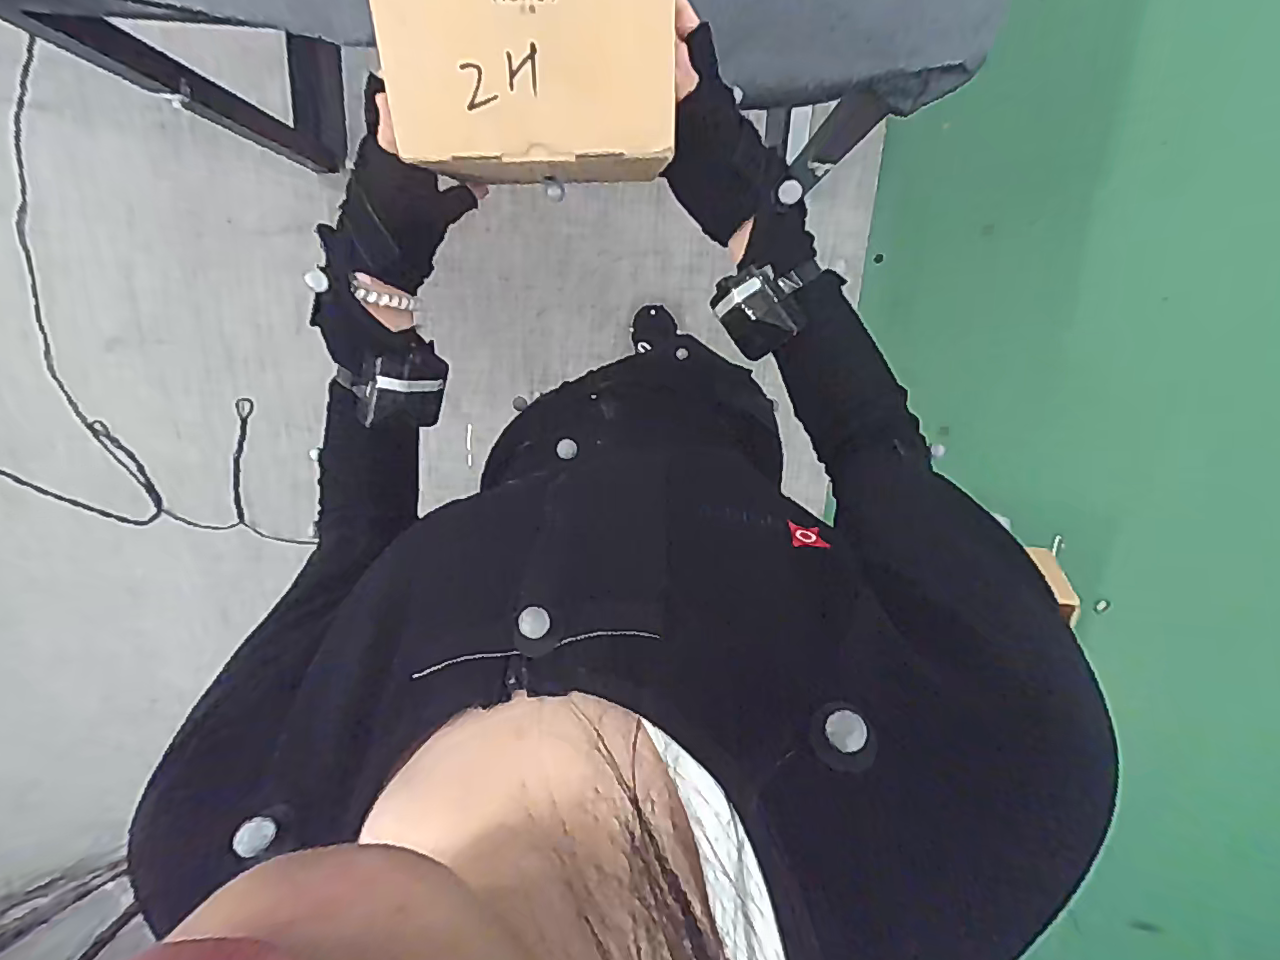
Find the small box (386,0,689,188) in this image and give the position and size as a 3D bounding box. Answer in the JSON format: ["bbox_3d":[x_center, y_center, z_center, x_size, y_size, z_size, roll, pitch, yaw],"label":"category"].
[{"bbox_3d":[-0.061,-0.303,0.362,0.168,0.176,0.179,-2,114,-3],"label":"small box"}]
